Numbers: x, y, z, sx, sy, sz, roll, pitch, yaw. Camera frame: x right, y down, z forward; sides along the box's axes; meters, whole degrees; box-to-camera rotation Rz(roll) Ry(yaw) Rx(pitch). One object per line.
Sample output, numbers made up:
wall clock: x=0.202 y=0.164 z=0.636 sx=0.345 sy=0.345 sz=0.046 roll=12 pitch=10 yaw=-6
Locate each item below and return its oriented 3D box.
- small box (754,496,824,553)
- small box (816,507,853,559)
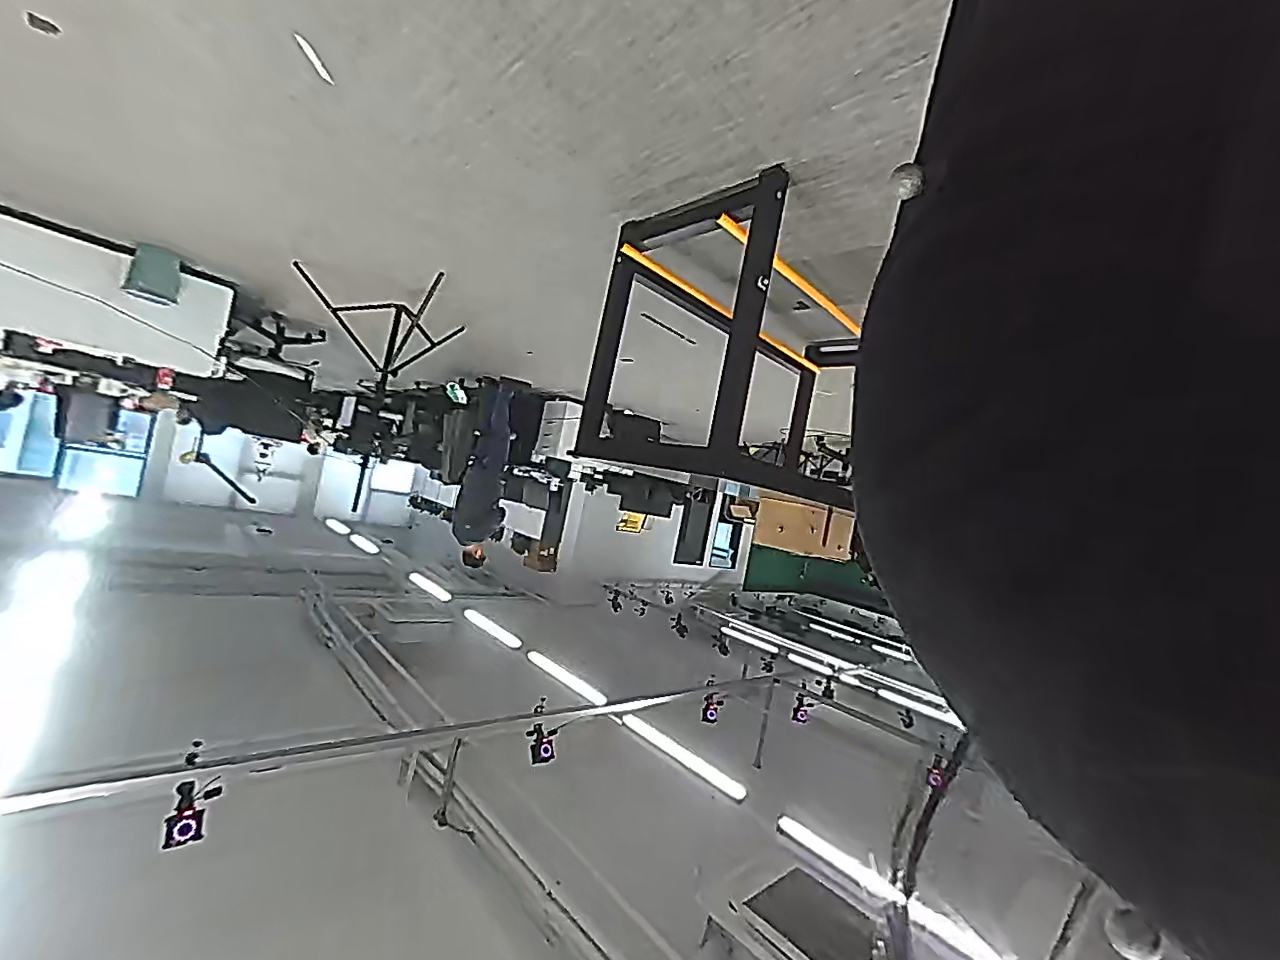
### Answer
small box: x=0.523 y=0.152 z=1.877 sx=0.168 sy=0.176 sz=0.179 roll=13 pitch=177 yaw=-44
small box: x=0.675 y=0.189 z=2.024 sx=0.179 sy=0.176 sz=0.168 roll=14 pitch=177 yaw=-41
